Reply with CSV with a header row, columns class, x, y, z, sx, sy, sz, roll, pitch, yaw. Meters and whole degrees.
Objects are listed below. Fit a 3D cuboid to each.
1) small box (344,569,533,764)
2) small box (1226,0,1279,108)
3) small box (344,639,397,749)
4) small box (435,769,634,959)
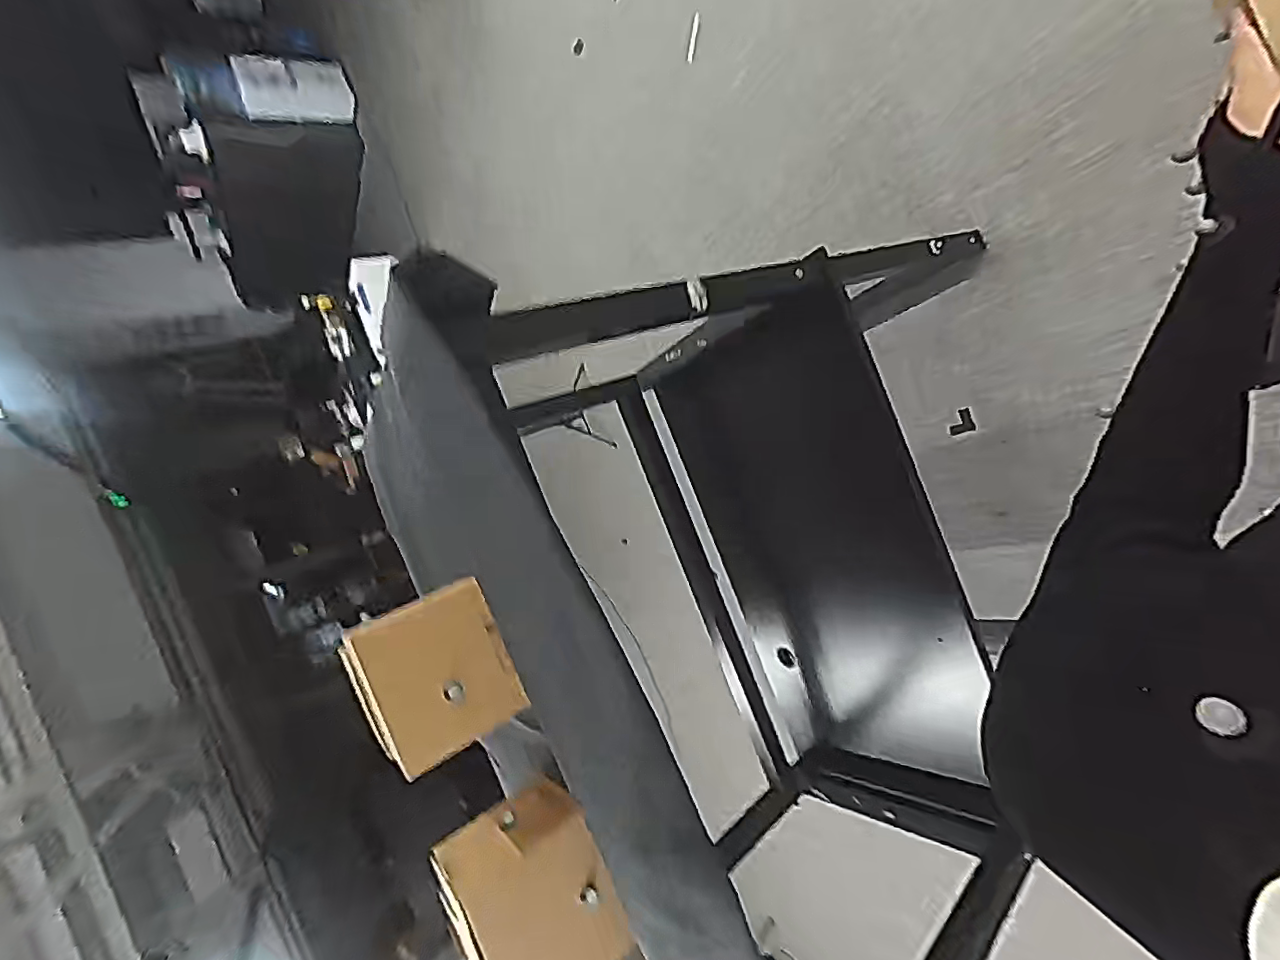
class,x,y,z,sx,sy,sz,roll,pitch,yaw
small box,-0.257,0.225,0.696,0.179,0.176,0.168,-25,88,58
small box,0.547,-0.403,0.383,0.168,0.176,0.179,-22,89,48
small box,-0.387,0.321,0.936,0.168,0.176,0.179,-21,92,56
small box,-0.137,0.510,0.695,0.168,0.176,0.179,-23,89,58
